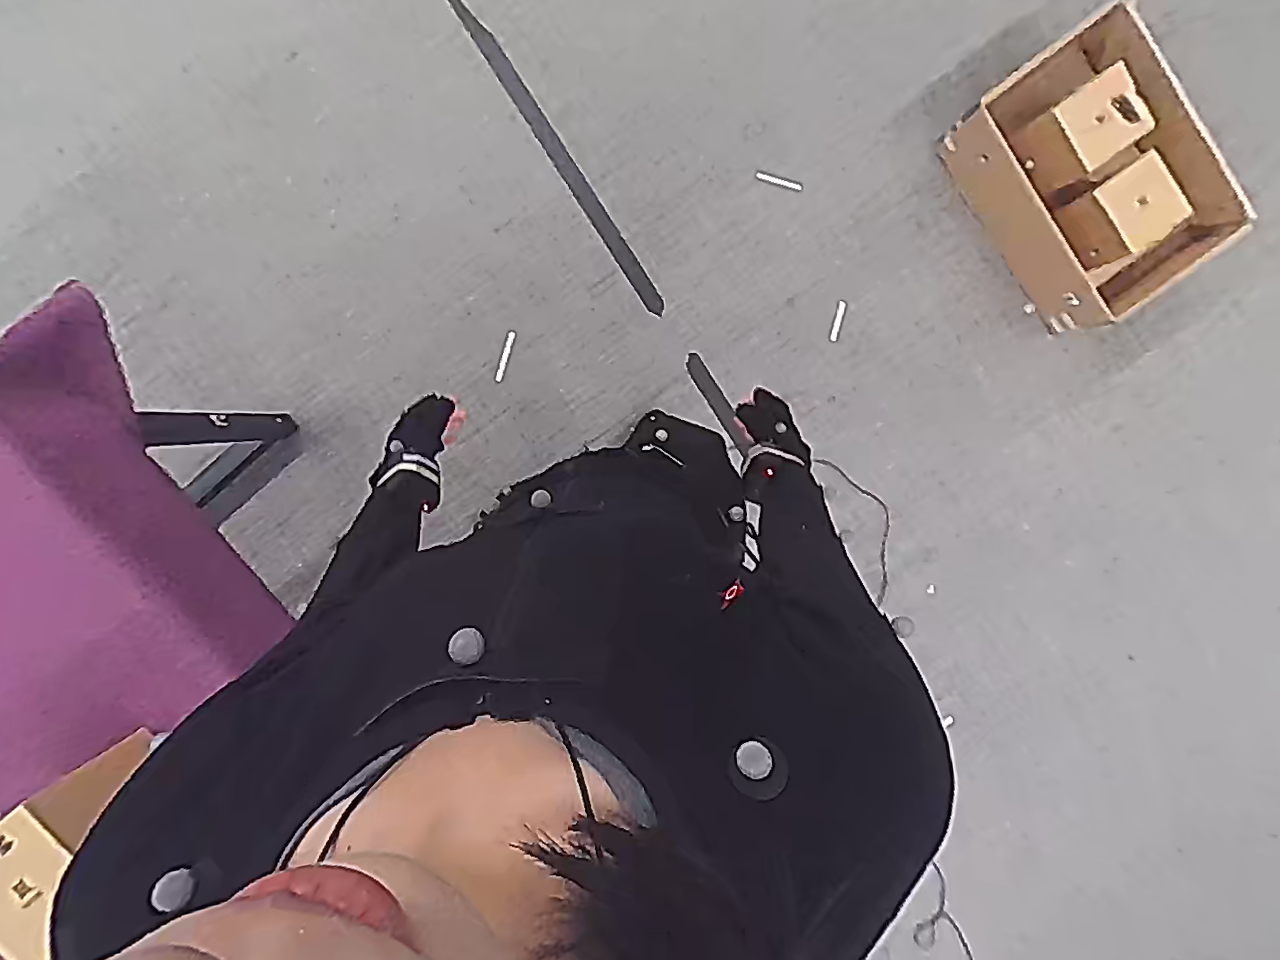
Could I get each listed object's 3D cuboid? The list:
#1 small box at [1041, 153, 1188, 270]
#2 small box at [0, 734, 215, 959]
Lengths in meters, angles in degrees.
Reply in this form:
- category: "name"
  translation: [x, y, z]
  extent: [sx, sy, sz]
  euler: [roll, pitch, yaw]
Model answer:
- category: "small box"
  translation: [1.146, -0.640, 1.321]
  extent: [0.168, 0.176, 0.179]
  euler: [-37, 93, 2]
- category: "small box"
  translation: [-0.741, 0.489, 0.728]
  extent: [0.168, 0.176, 0.179]
  euler: [-39, 96, 3]
